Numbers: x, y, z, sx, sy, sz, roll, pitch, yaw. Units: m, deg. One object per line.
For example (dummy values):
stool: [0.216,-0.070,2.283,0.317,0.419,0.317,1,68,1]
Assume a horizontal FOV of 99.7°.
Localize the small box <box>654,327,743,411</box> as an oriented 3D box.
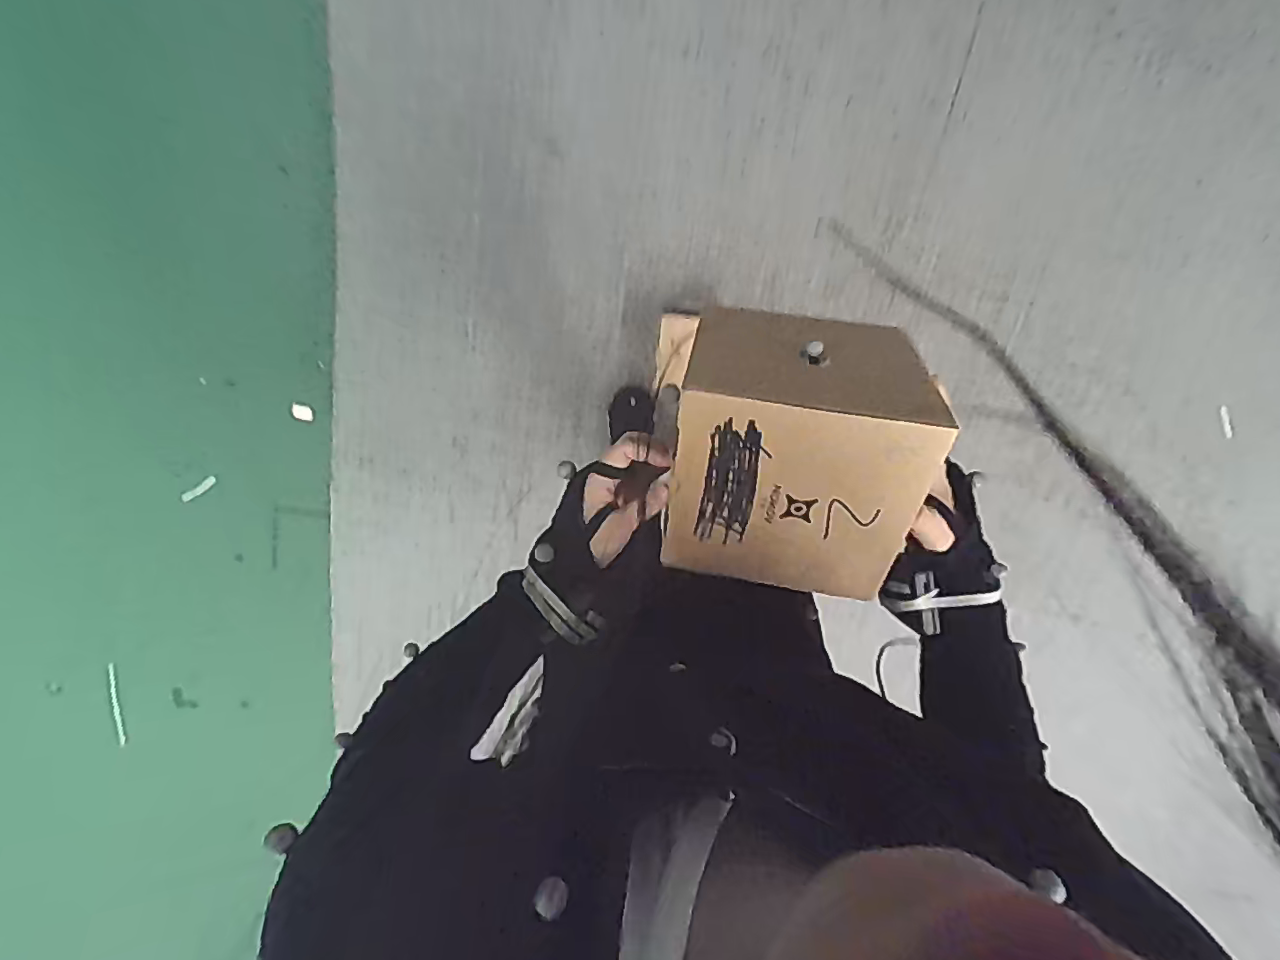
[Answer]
small box: [0.129,-0.265,1.270,0.179,0.176,0.168,5,107,-2]
